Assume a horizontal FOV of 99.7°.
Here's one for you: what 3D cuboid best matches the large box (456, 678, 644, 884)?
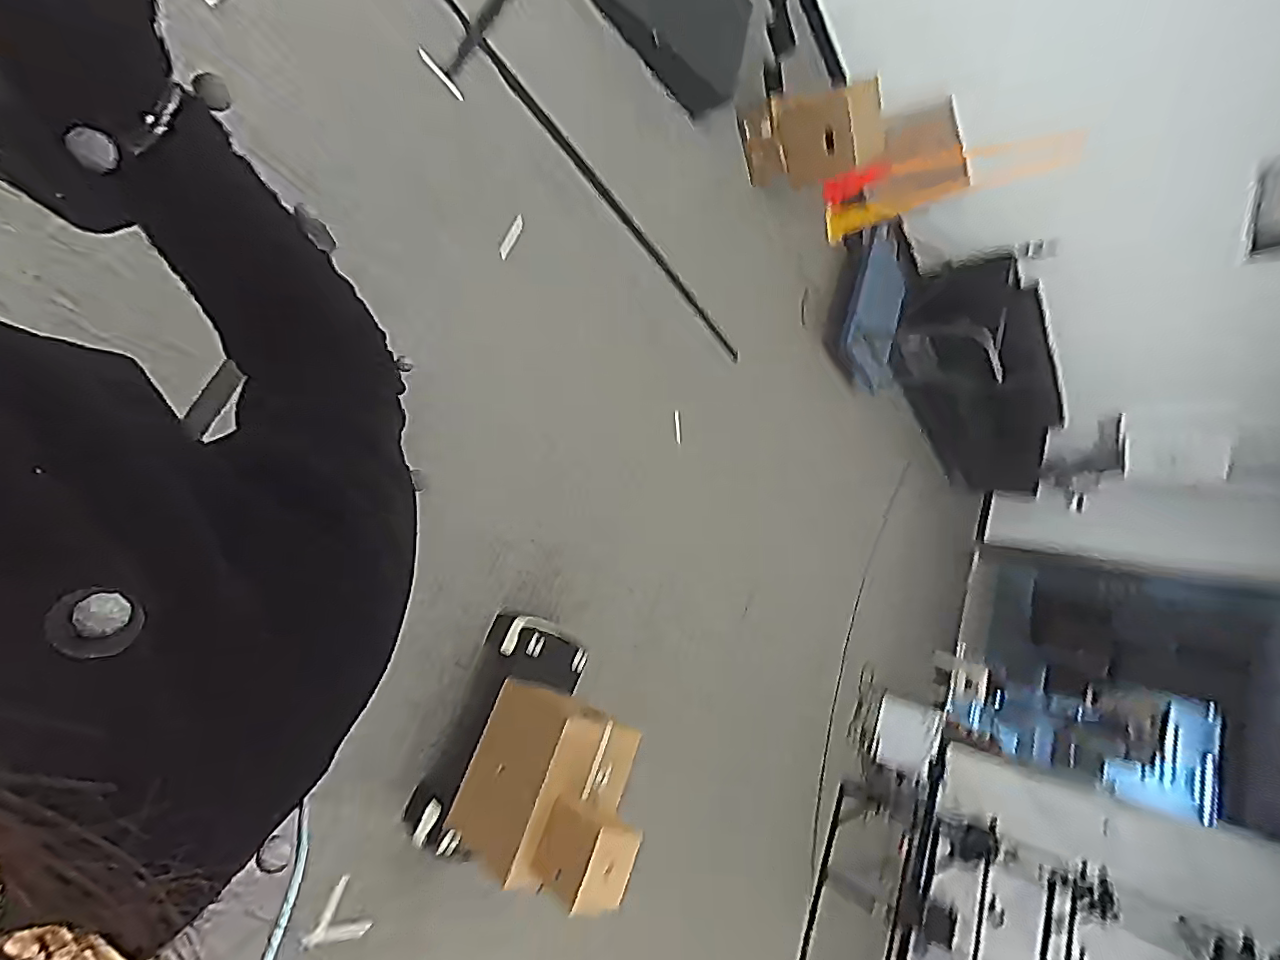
[{"bbox_3d":[-0.250,0.826,1.521,0.320,0.320,0.408,35,67,-42],"label":"large box"}]

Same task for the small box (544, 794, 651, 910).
[{"bbox_3d":[-0.109,0.902,1.319,0.168,0.176,0.179,37,66,-40],"label":"small box"}]
